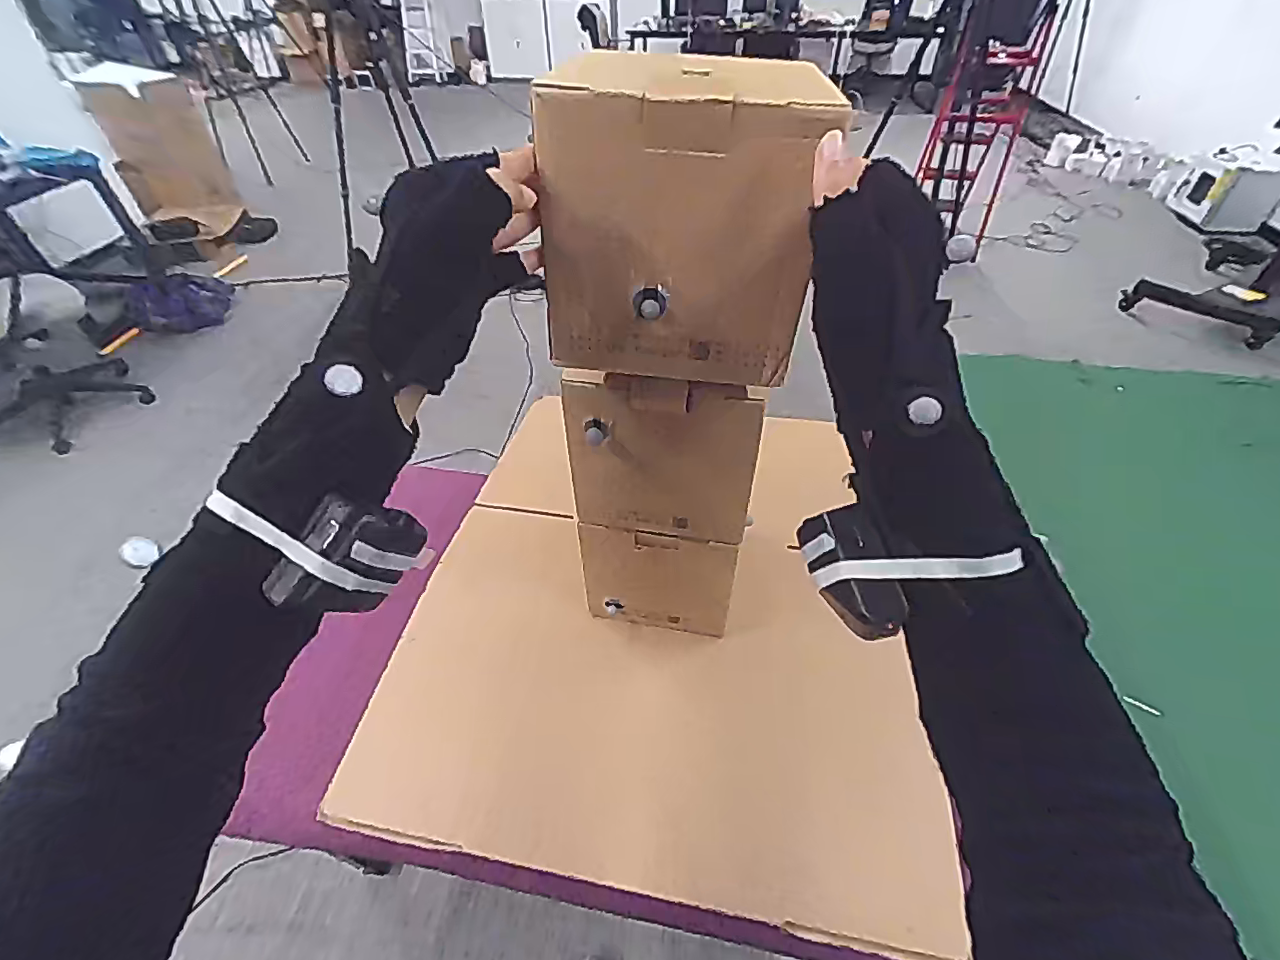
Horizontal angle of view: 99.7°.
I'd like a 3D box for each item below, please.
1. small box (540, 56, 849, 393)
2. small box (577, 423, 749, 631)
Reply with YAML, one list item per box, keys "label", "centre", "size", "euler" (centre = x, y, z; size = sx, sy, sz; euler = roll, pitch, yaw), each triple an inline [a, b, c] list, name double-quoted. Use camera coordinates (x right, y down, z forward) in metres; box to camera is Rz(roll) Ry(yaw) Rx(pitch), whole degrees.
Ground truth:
- label: "small box"
  centre: [0.033, -0.187, 0.394]
  size: [0.168, 0.176, 0.179]
  euler: [6, 44, 3]
- label: "small box"
  centre: [0.034, 0.056, 0.649]
  size: [0.168, 0.176, 0.179]
  euler: [8, 44, 9]
